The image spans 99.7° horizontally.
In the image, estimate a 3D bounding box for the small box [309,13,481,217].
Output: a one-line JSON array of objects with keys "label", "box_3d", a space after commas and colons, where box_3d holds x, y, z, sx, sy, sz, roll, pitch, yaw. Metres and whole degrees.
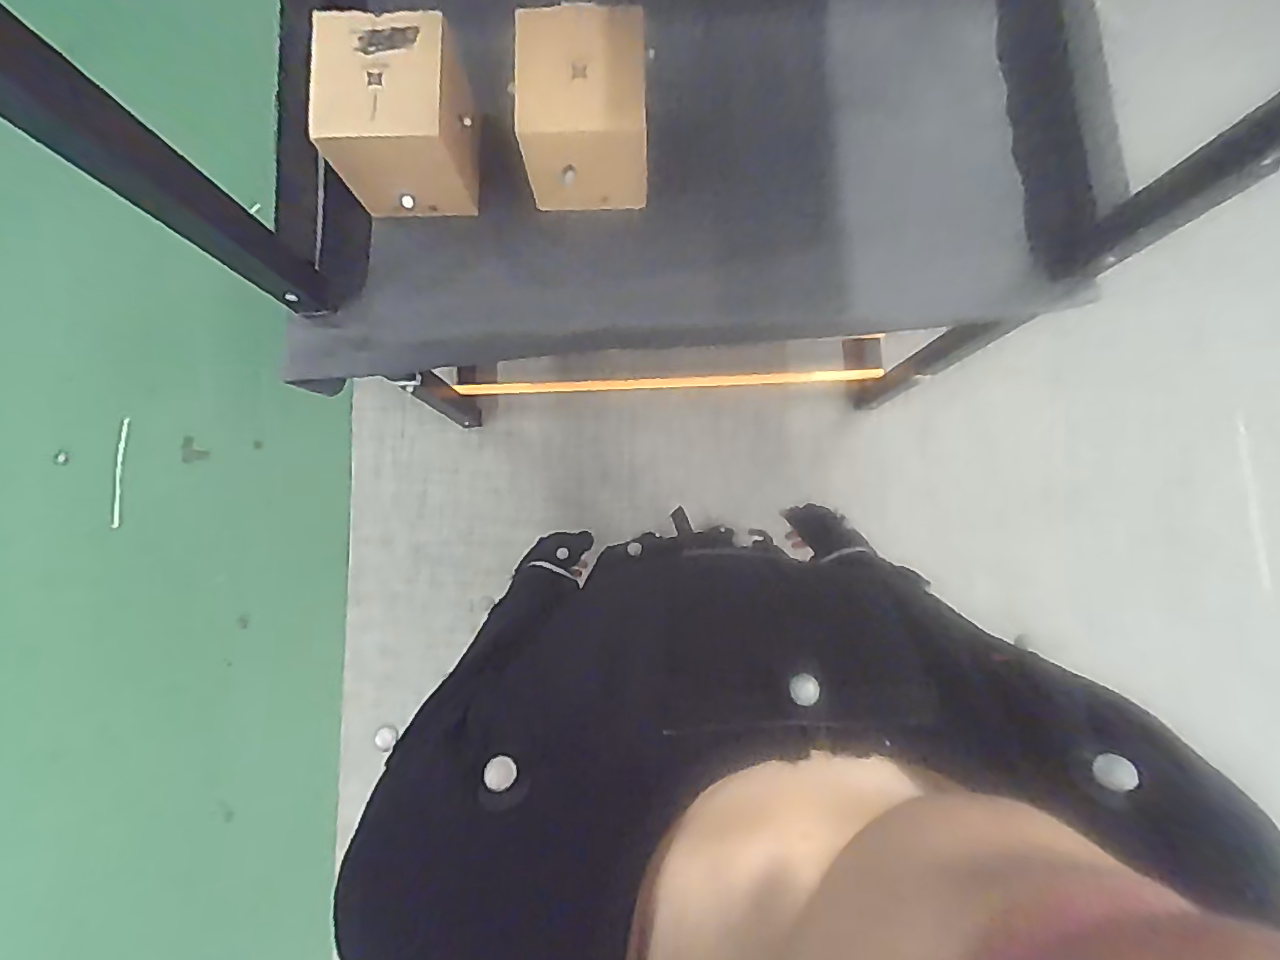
[{"label": "small box", "box_3d": [-0.330, -0.501, 0.760, 0.168, 0.176, 0.179, -1, 84, 0]}]

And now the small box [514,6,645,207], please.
[{"label": "small box", "box_3d": [-0.077, -0.510, 0.763, 0.168, 0.176, 0.179, -2, 83, 0]}]
